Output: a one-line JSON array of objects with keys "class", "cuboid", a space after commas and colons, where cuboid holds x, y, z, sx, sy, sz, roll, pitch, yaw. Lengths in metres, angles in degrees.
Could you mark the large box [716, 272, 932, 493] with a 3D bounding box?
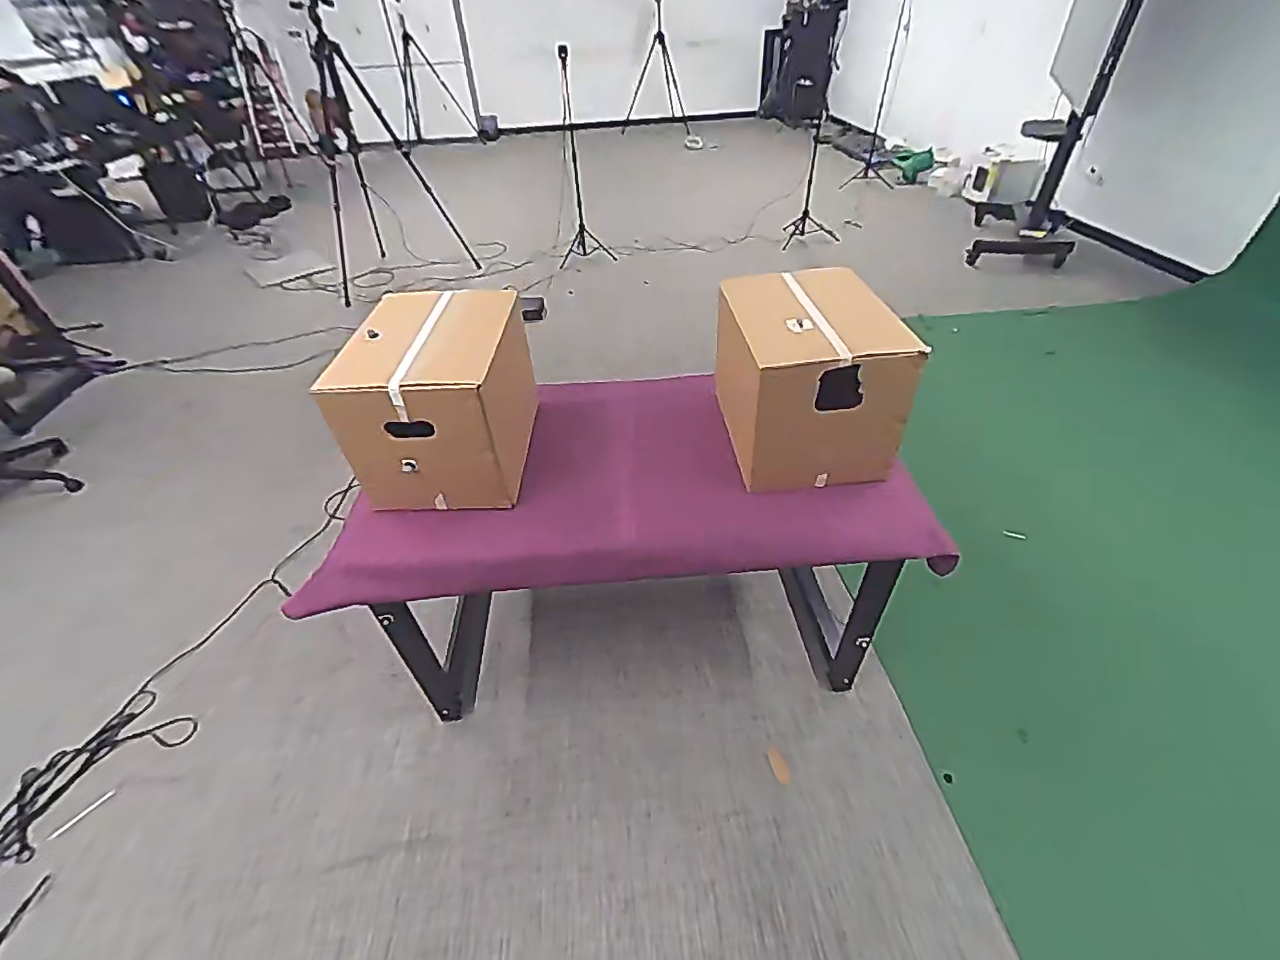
[{"class": "large box", "cuboid": [0.362, -0.226, 1.207, 0.320, 0.320, 0.408, -6, 42, 0]}]
